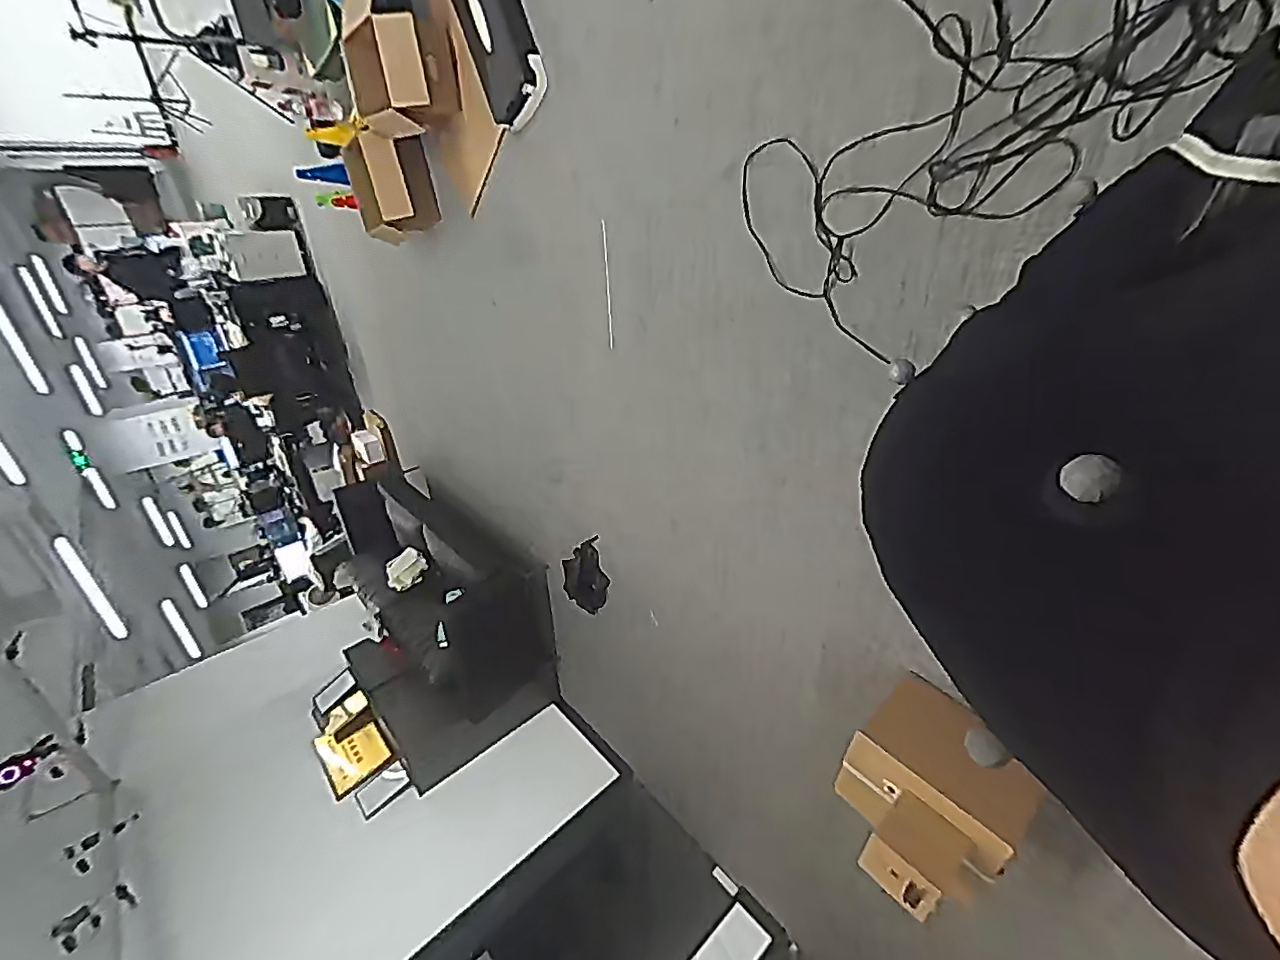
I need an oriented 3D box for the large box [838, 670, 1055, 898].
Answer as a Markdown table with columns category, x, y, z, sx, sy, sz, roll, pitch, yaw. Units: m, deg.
| category | x | y | z | sx | sy | sz | roll | pitch | yaw |
| --- | --- | --- | --- | --- | --- | --- | --- | --- | --- |
| large box | 0.850 | 0.835 | 1.534 | 0.408 | 0.320 | 0.320 | 33 | 133 | 39 |
